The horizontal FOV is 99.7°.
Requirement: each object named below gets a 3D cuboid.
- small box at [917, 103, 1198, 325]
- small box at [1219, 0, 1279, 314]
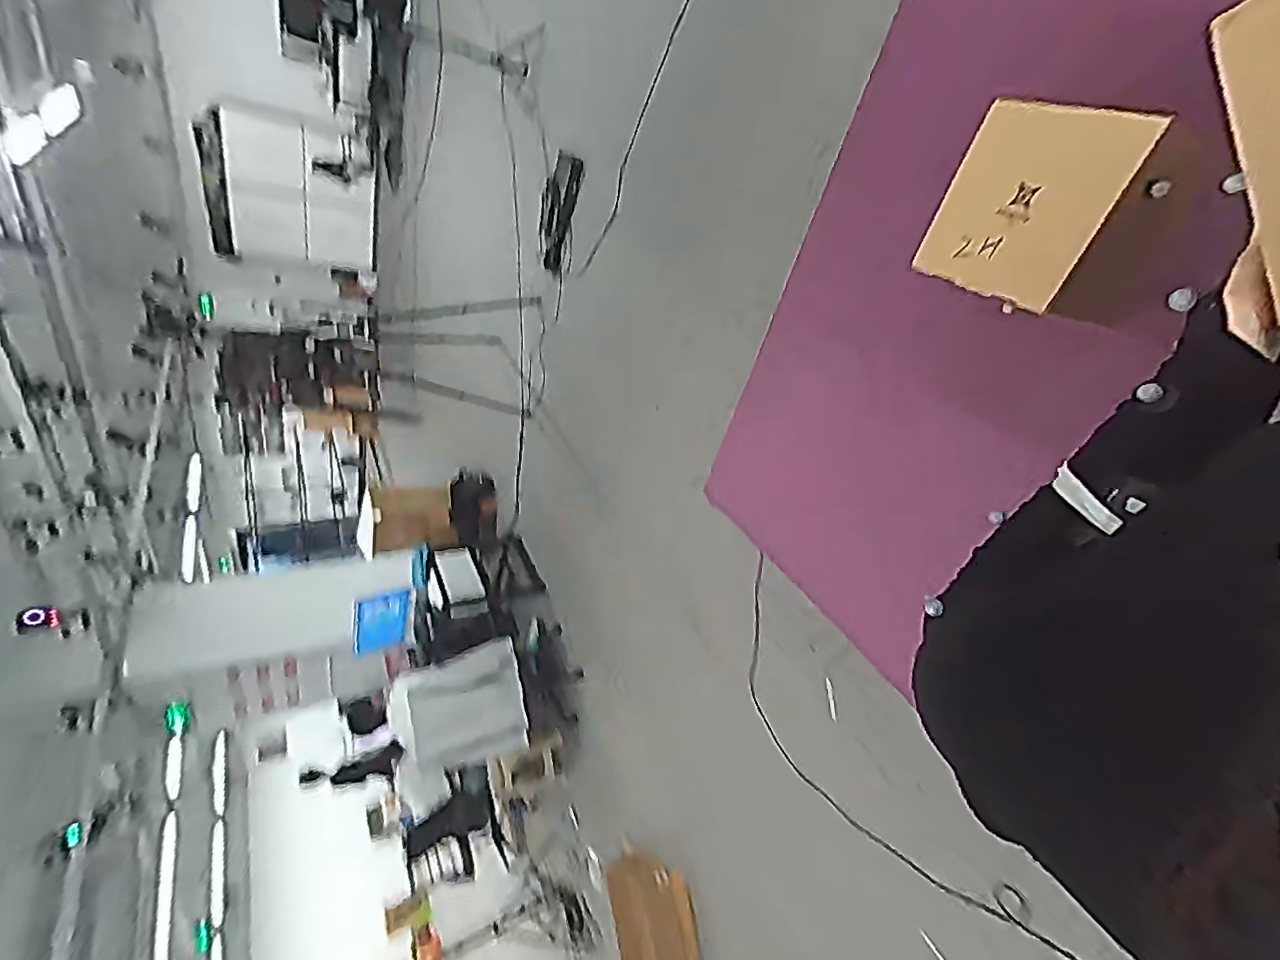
[{"bbox_3d":[0.466,-0.291,0.611,0.168,0.176,0.179,49,133,42],"label":"small box"},{"bbox_3d":[0.451,-0.196,0.279,0.168,0.176,0.179,-11,91,60],"label":"small box"}]
